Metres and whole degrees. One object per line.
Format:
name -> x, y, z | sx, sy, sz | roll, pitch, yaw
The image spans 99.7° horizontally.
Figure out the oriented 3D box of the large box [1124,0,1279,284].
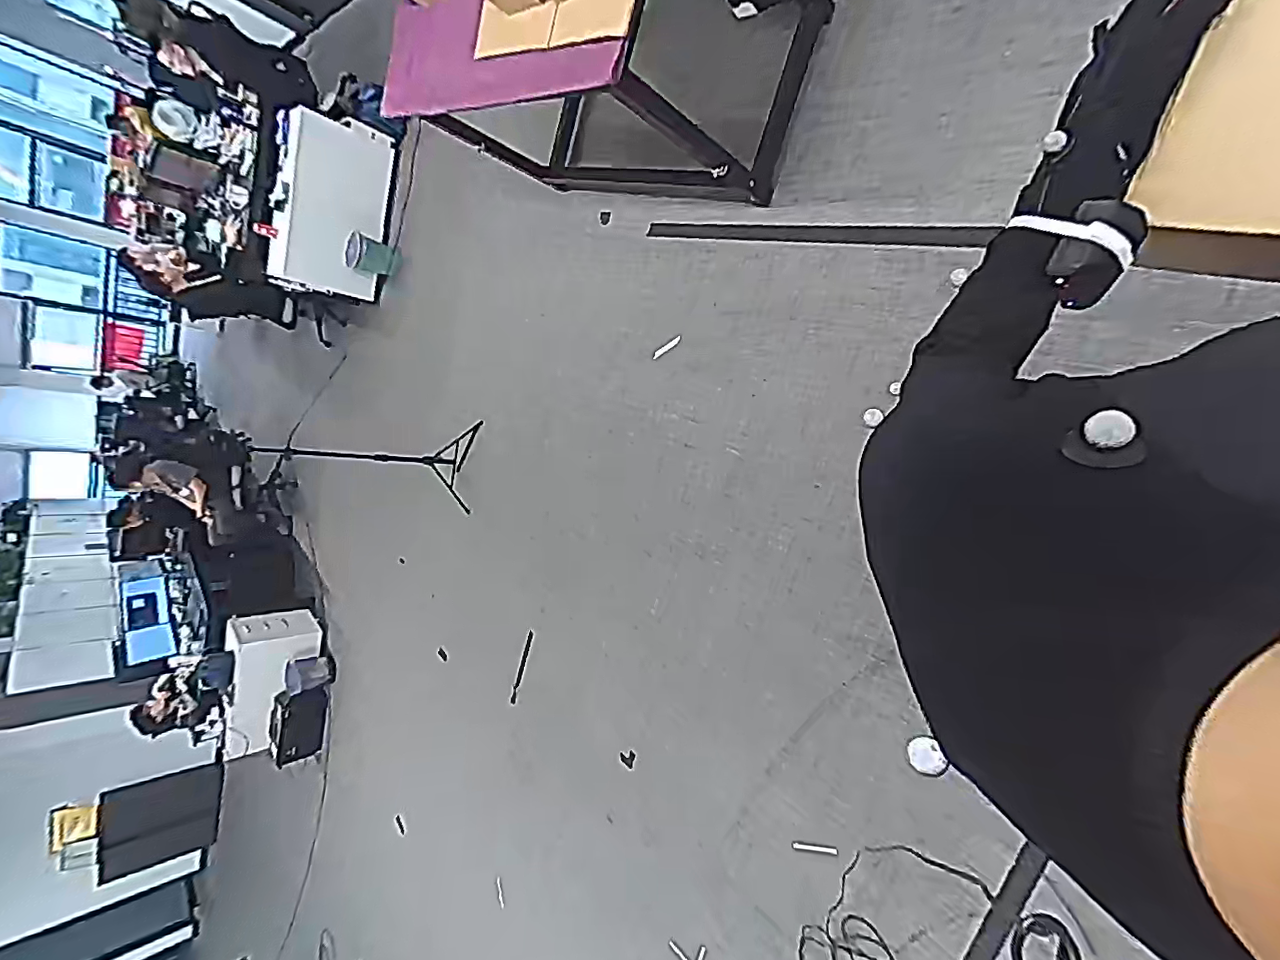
large box -> 0.657, -0.303, 0.379 | 0.408, 0.320, 0.320 | 27, 118, 36
